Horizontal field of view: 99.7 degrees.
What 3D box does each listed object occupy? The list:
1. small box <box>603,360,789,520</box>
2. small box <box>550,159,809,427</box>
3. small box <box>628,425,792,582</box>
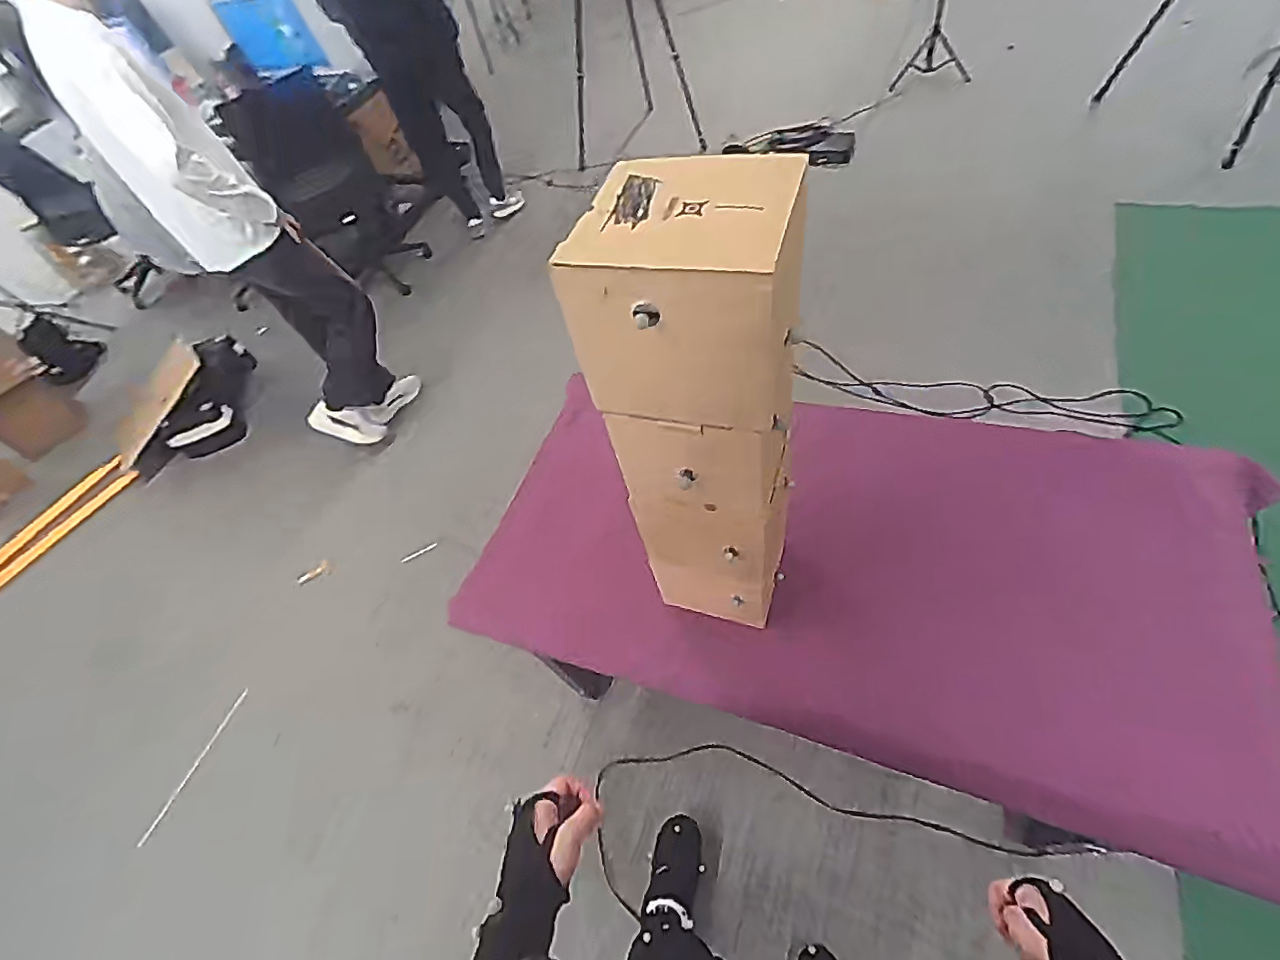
[{"bbox_3d":[0.078,-0.075,0.630,0.168,0.176,0.179,10,58,19],"label":"small box"},{"bbox_3d":[0.048,-0.167,0.497,0.179,0.176,0.168,10,57,19],"label":"small box"},{"bbox_3d":[0.106,0.025,0.756,0.179,0.176,0.168,11,58,20],"label":"small box"}]
